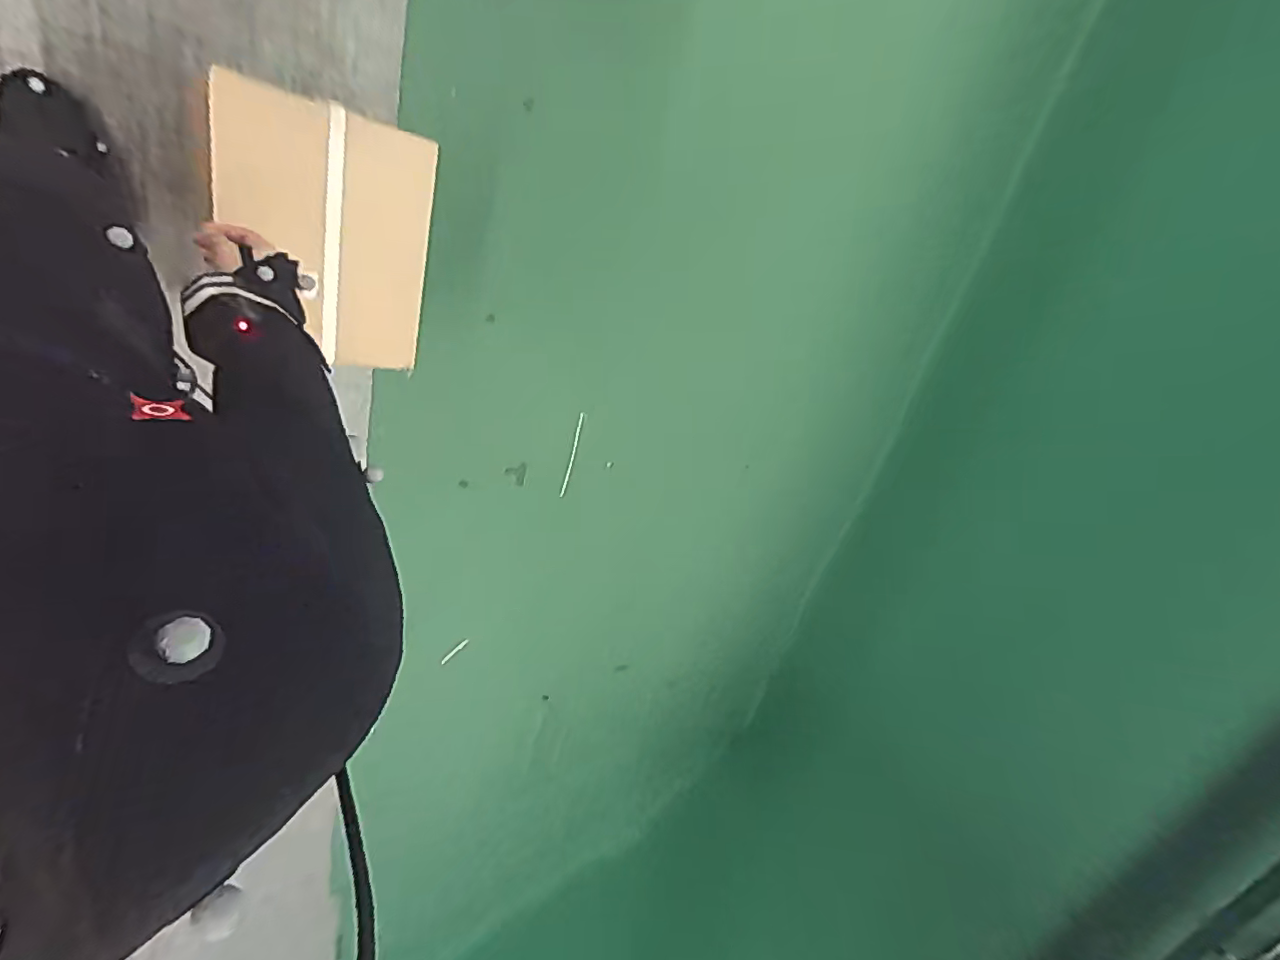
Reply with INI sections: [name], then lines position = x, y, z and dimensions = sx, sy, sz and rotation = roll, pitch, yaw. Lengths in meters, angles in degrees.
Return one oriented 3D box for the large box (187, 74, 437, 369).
[large box]
position = -0.600, -0.451, 0.988
dimensions = 0.320, 0.320, 0.408
rotation = -6, 121, -42
